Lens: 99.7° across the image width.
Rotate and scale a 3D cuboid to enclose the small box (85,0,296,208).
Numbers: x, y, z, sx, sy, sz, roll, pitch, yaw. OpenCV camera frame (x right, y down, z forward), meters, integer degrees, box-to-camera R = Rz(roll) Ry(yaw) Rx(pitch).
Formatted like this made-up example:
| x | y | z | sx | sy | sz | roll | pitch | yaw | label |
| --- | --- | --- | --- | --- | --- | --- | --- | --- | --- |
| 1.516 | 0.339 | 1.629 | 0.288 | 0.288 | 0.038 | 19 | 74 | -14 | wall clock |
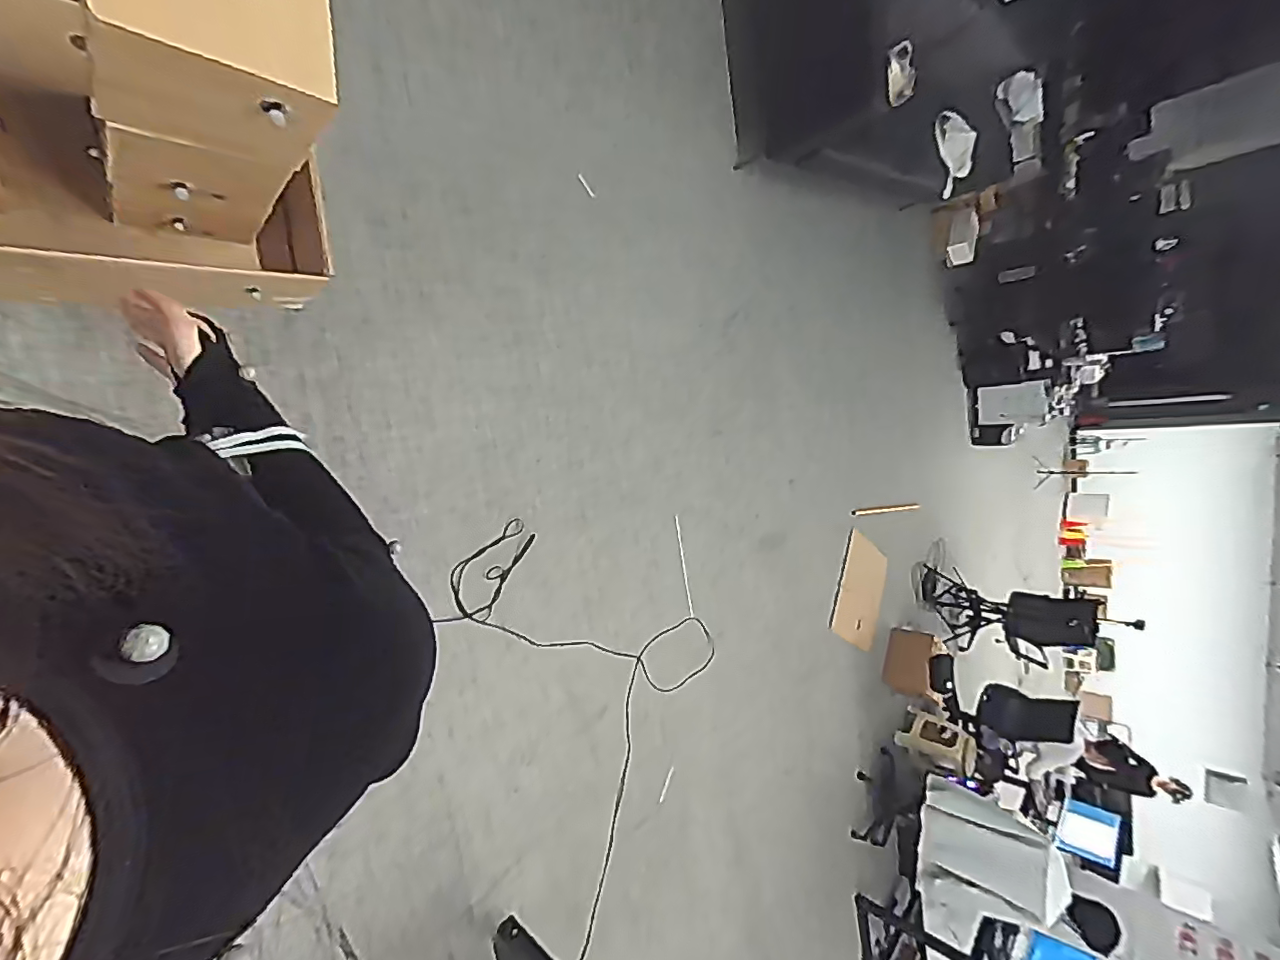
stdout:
| x | y | z | sx | sy | sz | roll | pitch | yaw | label |
| --- | --- | --- | --- | --- | --- | --- | --- | --- | --- |
| -0.526 | -0.452 | 0.633 | 0.168 | 0.176 | 0.179 | -9 | 99 | -43 | small box |
